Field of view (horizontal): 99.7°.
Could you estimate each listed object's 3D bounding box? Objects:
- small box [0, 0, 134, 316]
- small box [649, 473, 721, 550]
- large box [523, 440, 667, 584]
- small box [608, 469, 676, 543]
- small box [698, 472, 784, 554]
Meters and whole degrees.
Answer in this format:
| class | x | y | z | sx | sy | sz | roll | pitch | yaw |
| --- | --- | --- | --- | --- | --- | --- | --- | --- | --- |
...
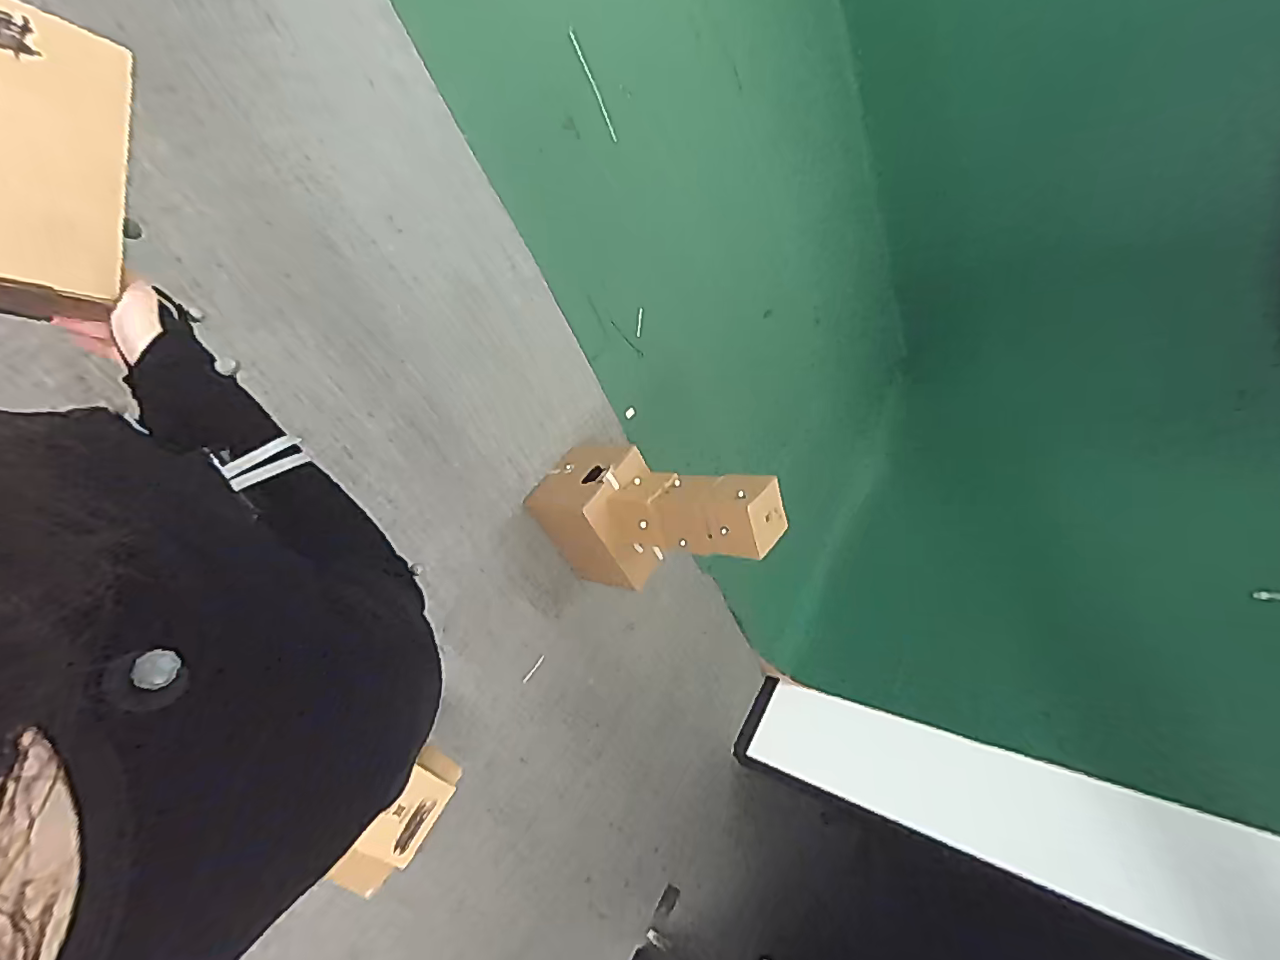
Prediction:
| class | x | y | z | sx | sy | sz | roll | pitch | yaw |
| --- | --- | --- | --- | --- | --- | --- | --- | --- | --- |
| small box | -0.469 | -0.221 | 0.372 | 0.168 | 0.176 | 0.179 | 2 | 95 | -47 |
| small box | 0.154 | 0.088 | 1.632 | 0.168 | 0.176 | 0.179 | -38 | 119 | -40 |
| large box | -0.133 | 0.105 | 1.921 | 0.320 | 0.320 | 0.408 | -52 | 129 | -31 |
| small box | 0.028 | 0.076 | 1.734 | 0.168 | 0.176 | 0.179 | -42 | 122 | -38 |
| small box | 0.279 | 0.087 | 1.525 | 0.179 | 0.176 | 0.168 | -37 | 119 | -41 |
